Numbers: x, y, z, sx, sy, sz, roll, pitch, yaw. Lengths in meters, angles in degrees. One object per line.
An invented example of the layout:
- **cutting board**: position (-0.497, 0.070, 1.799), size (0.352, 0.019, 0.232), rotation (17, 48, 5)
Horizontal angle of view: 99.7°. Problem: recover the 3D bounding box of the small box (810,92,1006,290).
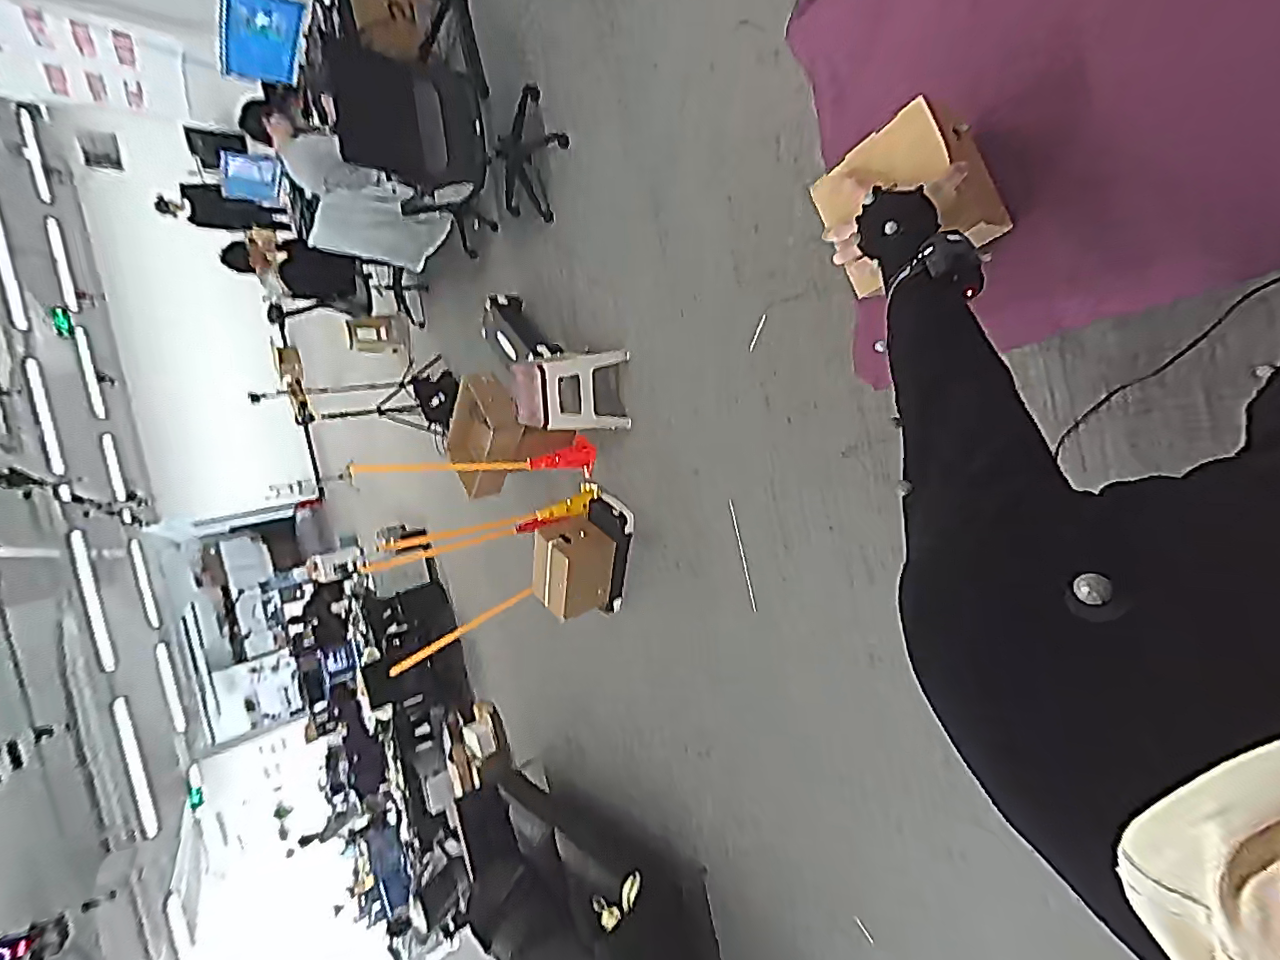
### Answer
- **small box**: position (0.376, -0.389, 0.759), size (0.168, 0.176, 0.179), rotation (-25, 89, 48)
